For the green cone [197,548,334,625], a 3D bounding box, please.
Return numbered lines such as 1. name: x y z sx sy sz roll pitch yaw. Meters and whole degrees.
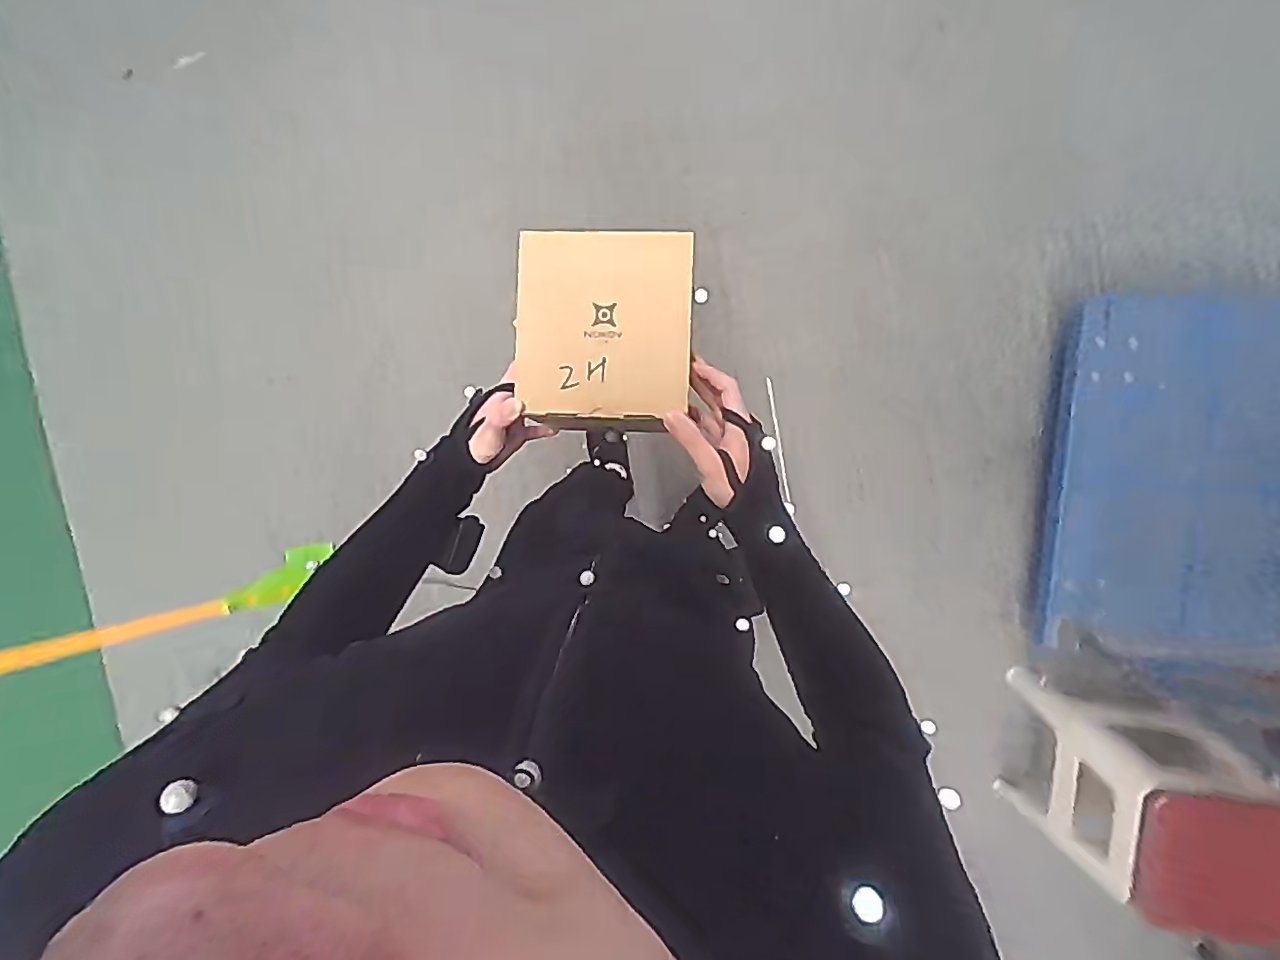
1. green cone: -1.133 0.344 1.605 0.200 0.368 0.202 -8 94 9
